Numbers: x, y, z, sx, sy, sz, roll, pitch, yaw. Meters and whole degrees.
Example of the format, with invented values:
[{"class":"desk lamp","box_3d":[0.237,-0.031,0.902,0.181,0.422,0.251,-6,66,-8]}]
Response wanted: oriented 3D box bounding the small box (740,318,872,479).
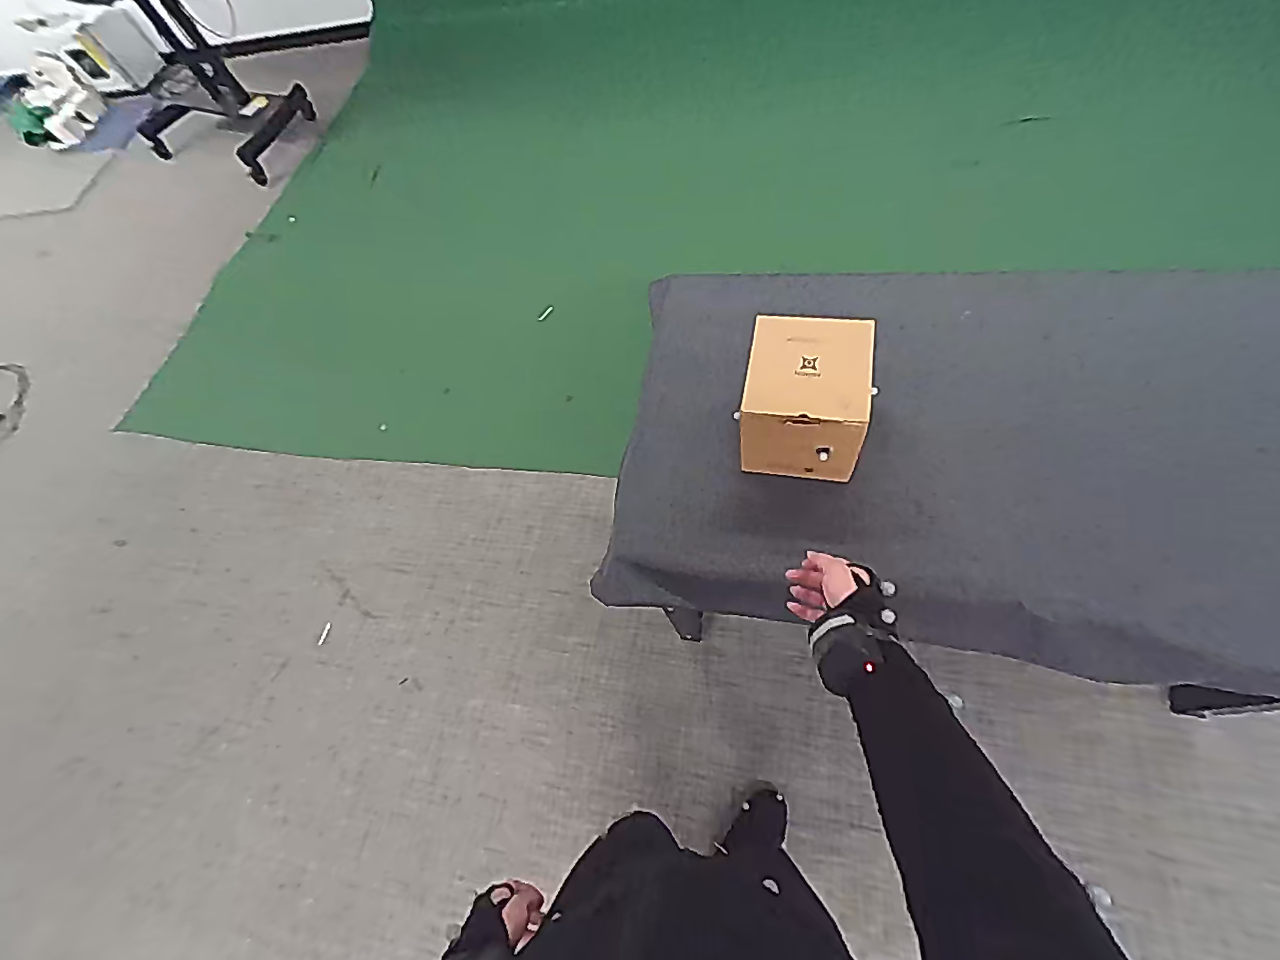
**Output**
[{"class":"small box","box_3d":[0.245,-0.118,0.818,0.168,0.176,0.179,7,64,13]}]
